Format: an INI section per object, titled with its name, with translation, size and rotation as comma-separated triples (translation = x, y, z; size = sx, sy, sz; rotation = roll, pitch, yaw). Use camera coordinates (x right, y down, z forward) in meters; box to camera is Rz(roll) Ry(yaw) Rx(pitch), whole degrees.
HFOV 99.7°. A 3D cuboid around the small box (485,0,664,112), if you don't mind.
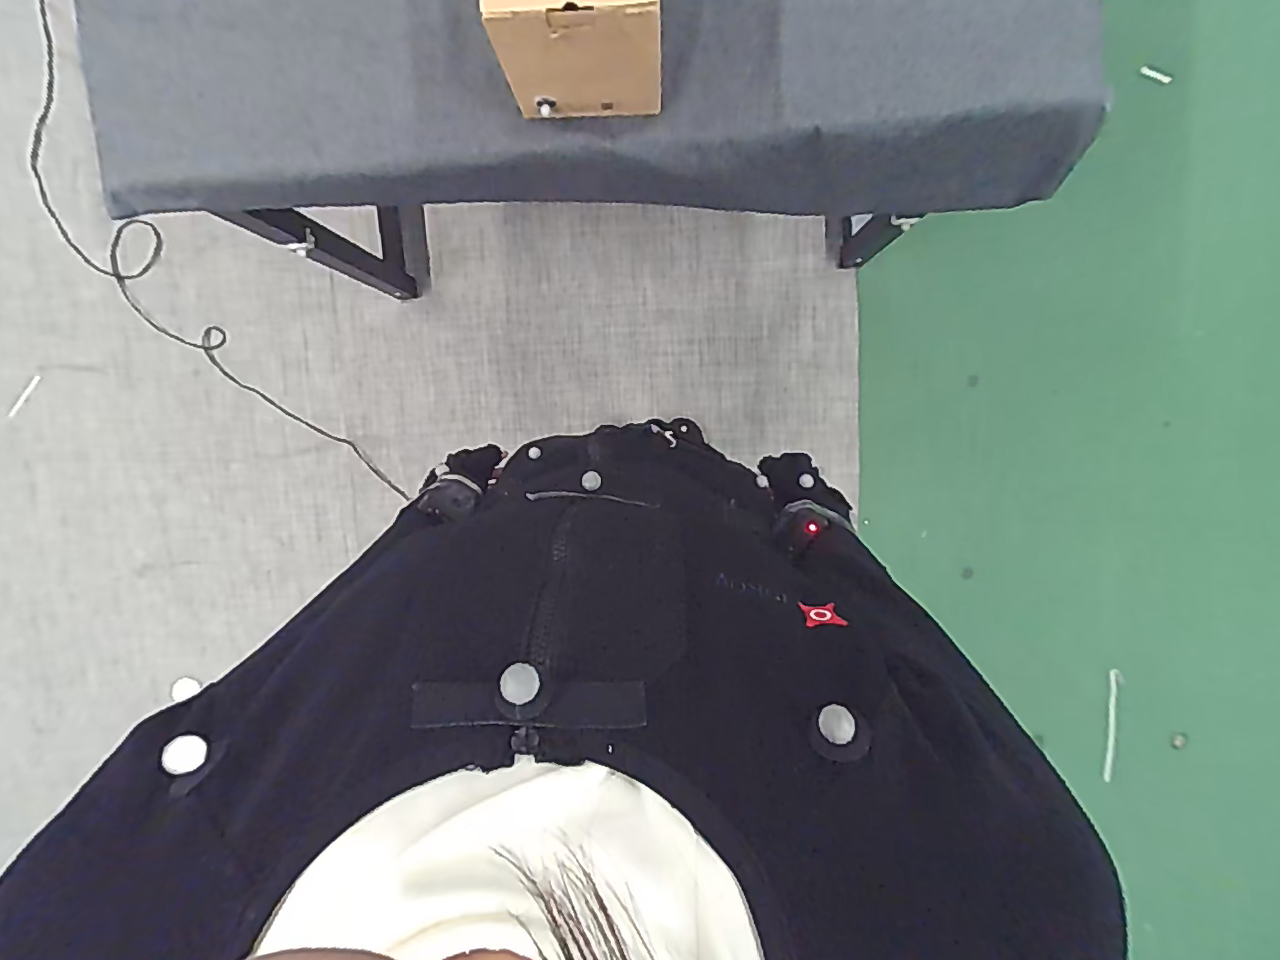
[small box]
translation = -0.059, -0.521, 0.568
size = 0.168, 0.176, 0.179
rotation = 1, 95, 1
